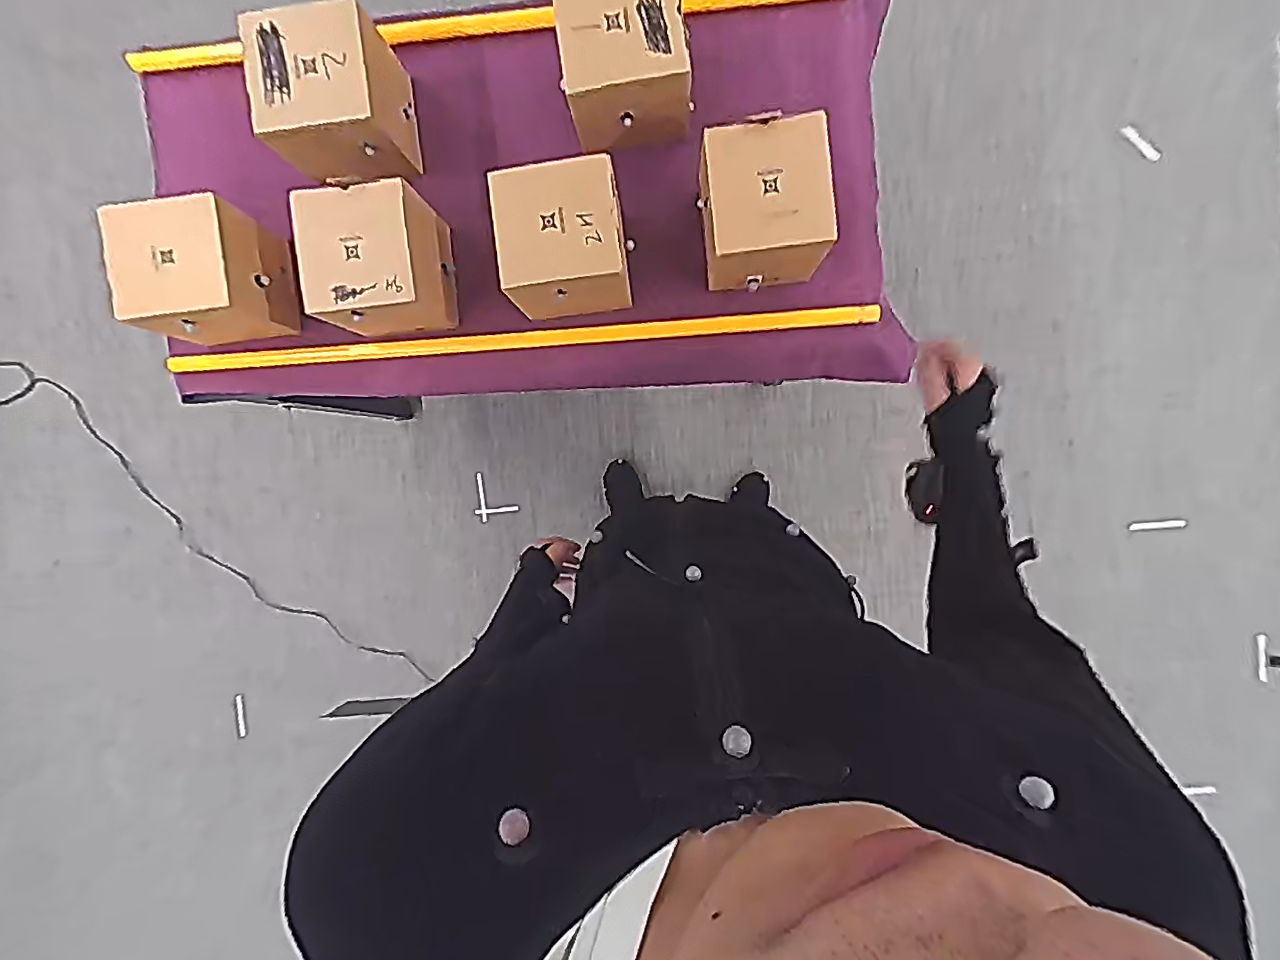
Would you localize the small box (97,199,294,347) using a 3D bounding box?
[{"bbox_3d":[-0.683,-0.316,0.856,0.179,0.176,0.168,-7,92,3],"label":"small box"}]

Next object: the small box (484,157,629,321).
[{"bbox_3d":[-0.117,-0.352,0.822,0.179,0.176,0.168,-6,91,3],"label":"small box"}]

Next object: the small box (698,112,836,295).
[{"bbox_3d":[0.177,-0.396,0.802,0.168,0.176,0.179,-6,90,5],"label":"small box"}]

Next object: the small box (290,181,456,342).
[{"bbox_3d":[-0.402,-0.327,0.839,0.168,0.176,0.179,-5,92,5],"label":"small box"}]

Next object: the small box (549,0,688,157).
[{"bbox_3d":[-0.027,-0.618,0.806,0.179,0.176,0.168,-8,93,5],"label":"small box"}]
